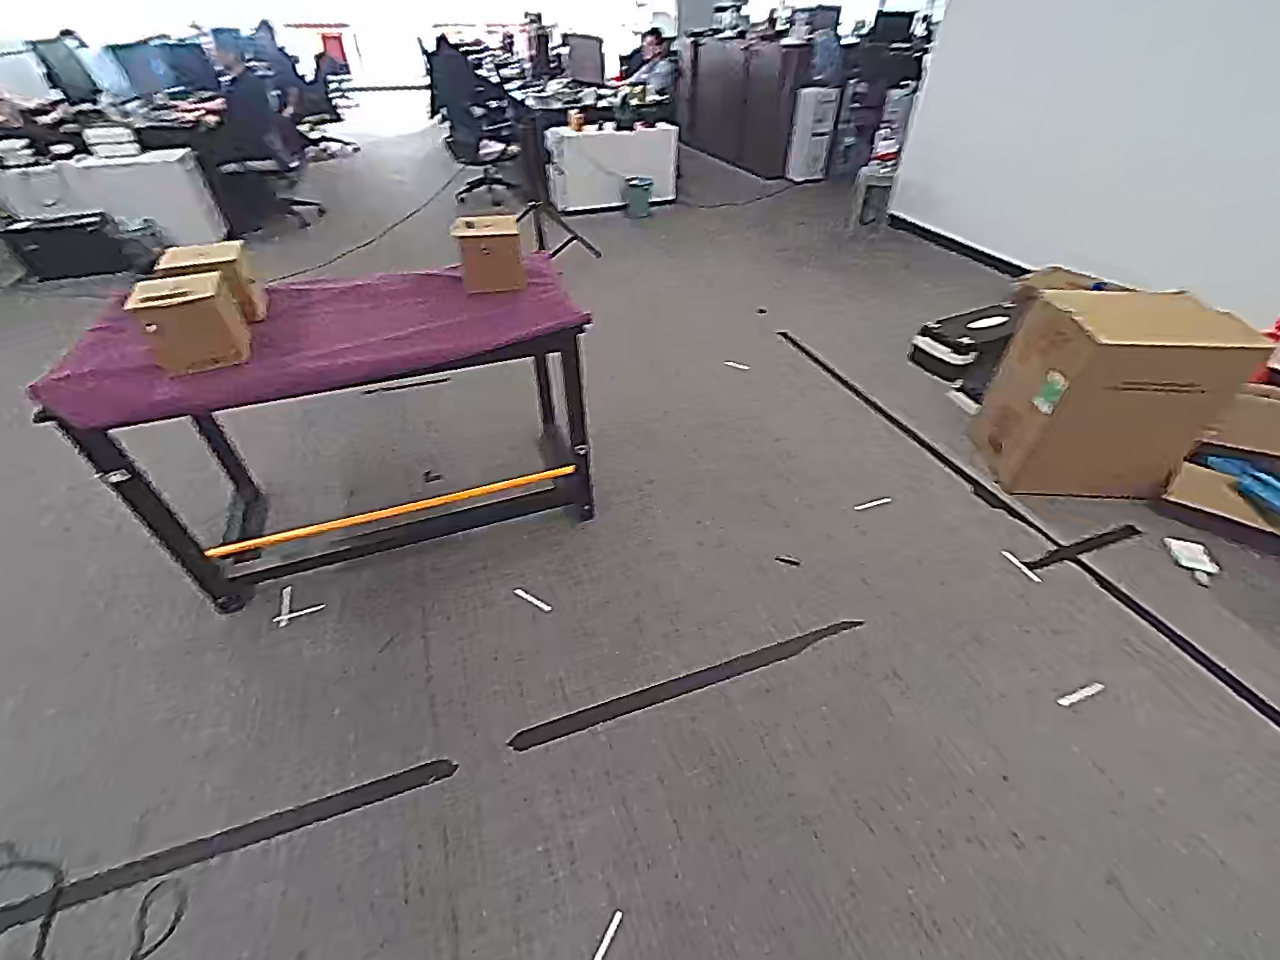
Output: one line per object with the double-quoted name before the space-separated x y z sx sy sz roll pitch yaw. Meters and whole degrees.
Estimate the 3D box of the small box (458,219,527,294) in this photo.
"small box" -0.446 -0.677 1.643 0.179 0.176 0.168 -9 44 -12

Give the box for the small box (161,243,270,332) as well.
"small box" -1.135 -0.521 1.465 0.179 0.176 0.168 -16 44 -18
